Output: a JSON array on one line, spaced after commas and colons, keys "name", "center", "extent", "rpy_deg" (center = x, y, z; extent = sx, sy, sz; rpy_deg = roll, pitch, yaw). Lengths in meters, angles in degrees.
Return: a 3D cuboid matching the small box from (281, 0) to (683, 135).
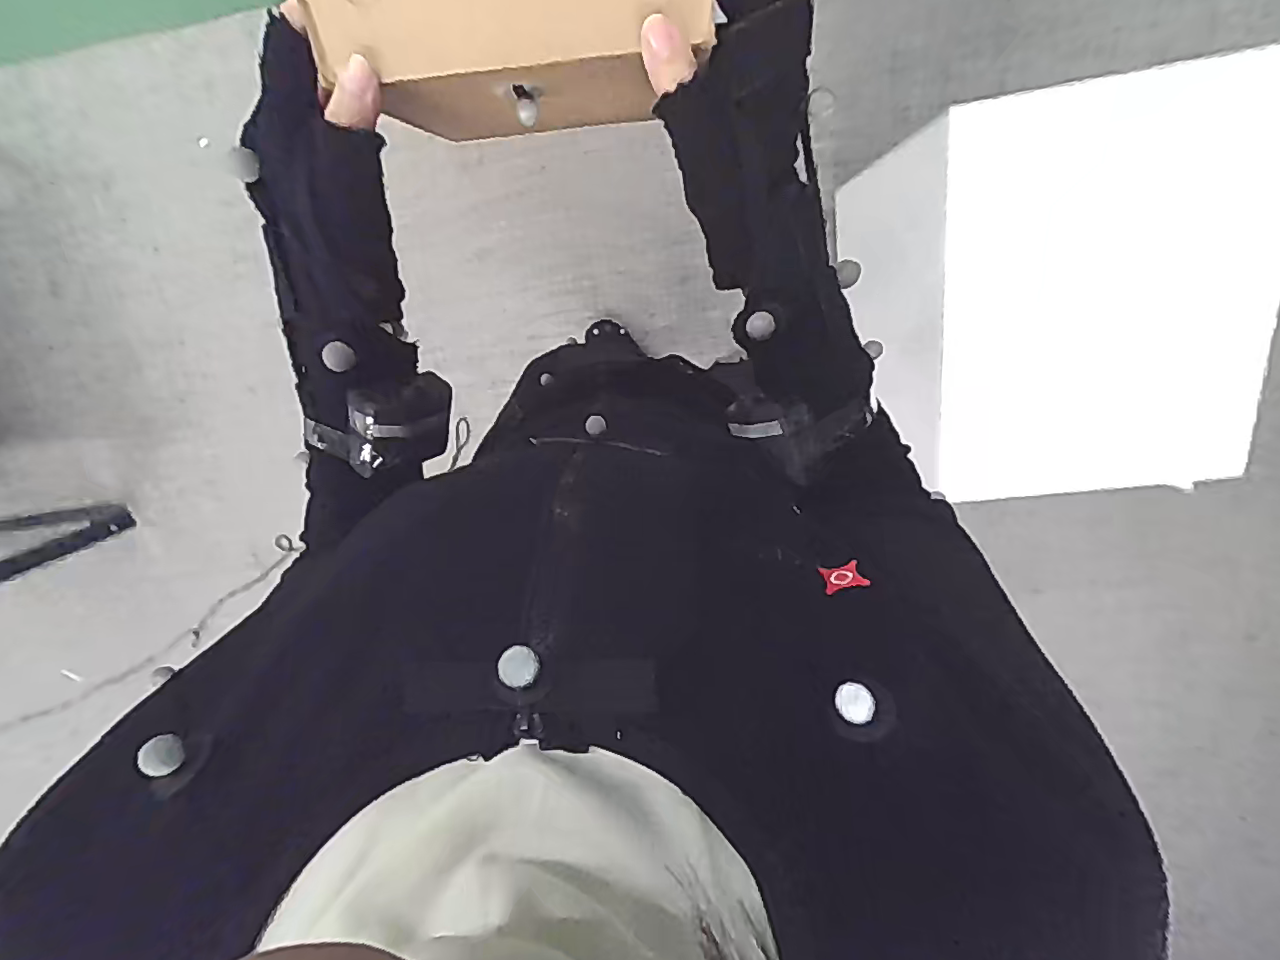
[{"name": "small box", "center": [-0.070, -0.293, 0.278], "extent": [0.179, 0.176, 0.168], "rpy_deg": [-5, 115, 4]}]
